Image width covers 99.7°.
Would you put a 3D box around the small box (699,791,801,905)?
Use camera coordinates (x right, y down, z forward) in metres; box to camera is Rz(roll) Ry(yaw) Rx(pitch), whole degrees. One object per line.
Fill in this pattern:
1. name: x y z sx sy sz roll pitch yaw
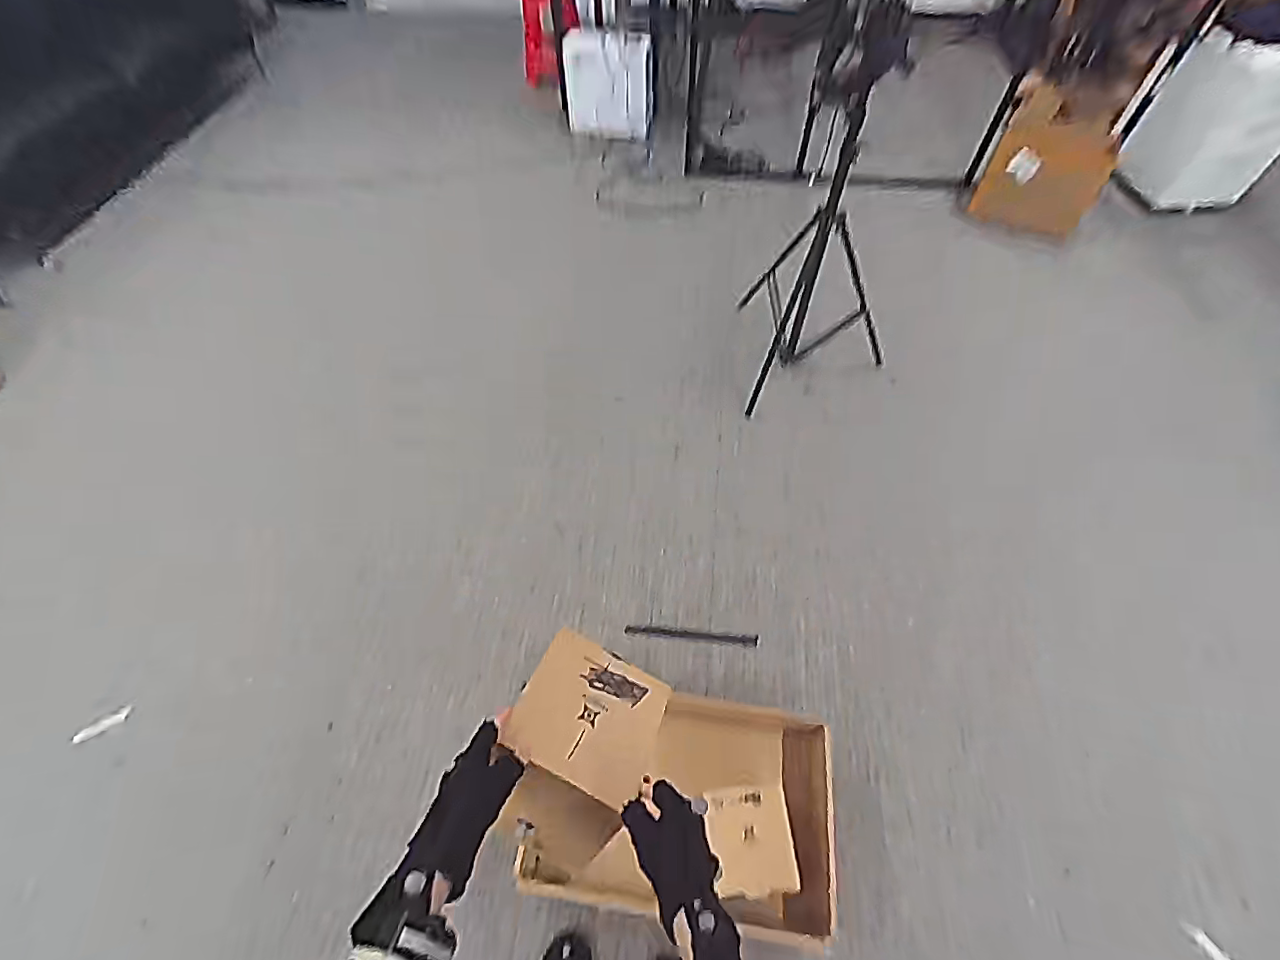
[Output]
1. small box: 0.215 0.746 1.104 0.168 0.176 0.179 -4 55 -1

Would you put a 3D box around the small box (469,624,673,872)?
1. small box: -0.083 0.319 0.655 0.168 0.176 0.179 29 32 2
